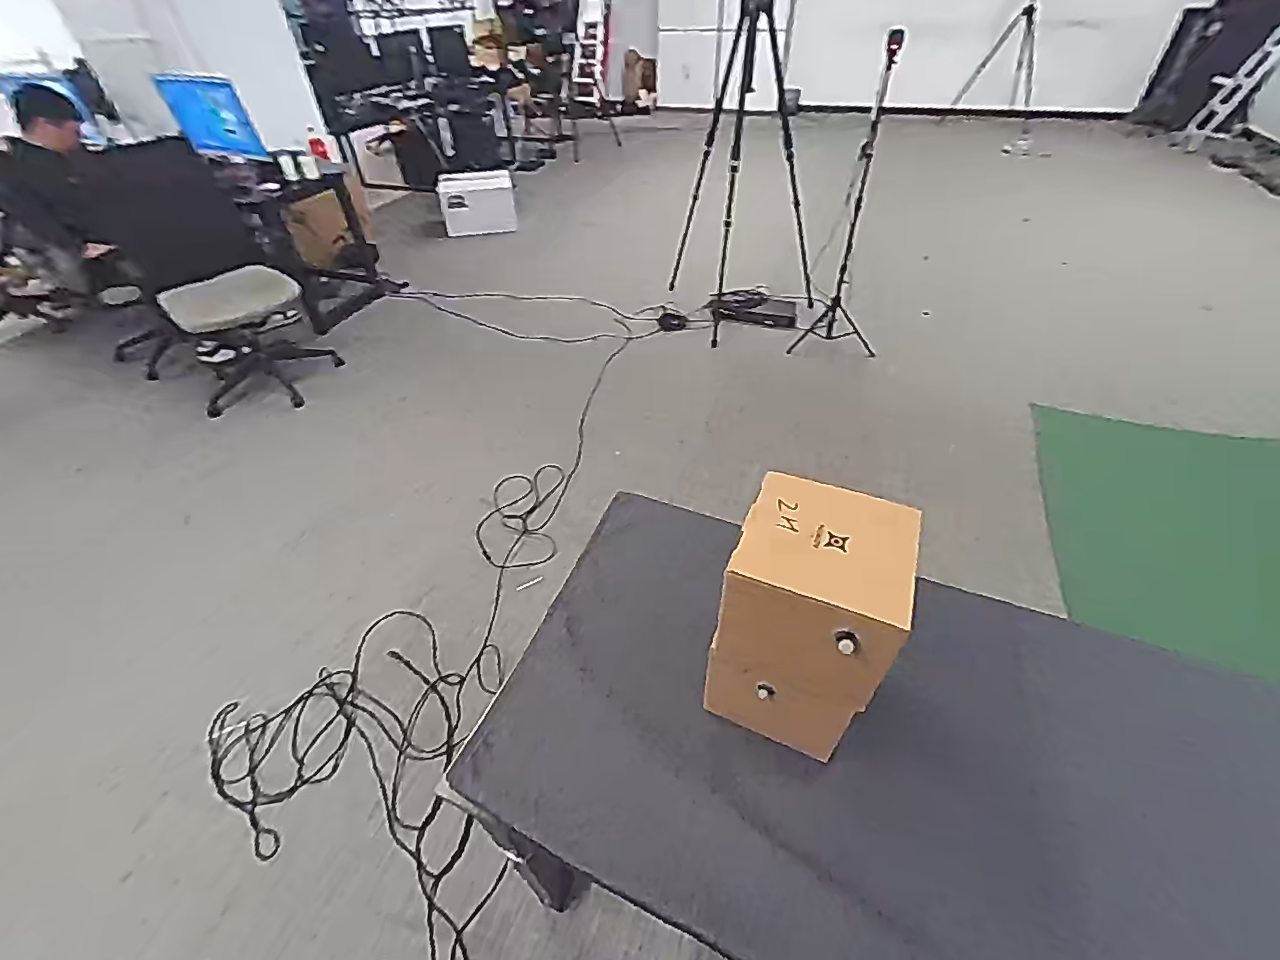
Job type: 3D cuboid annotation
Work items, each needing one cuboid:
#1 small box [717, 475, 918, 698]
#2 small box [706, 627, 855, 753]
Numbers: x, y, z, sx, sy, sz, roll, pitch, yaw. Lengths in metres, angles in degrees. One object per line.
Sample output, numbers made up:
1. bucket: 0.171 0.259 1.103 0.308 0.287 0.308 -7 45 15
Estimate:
1. small box: 0.200 0.126 0.632 0.179 0.176 0.168 16 44 18
2. small box: 0.200 0.243 0.748 0.179 0.176 0.168 18 45 19
